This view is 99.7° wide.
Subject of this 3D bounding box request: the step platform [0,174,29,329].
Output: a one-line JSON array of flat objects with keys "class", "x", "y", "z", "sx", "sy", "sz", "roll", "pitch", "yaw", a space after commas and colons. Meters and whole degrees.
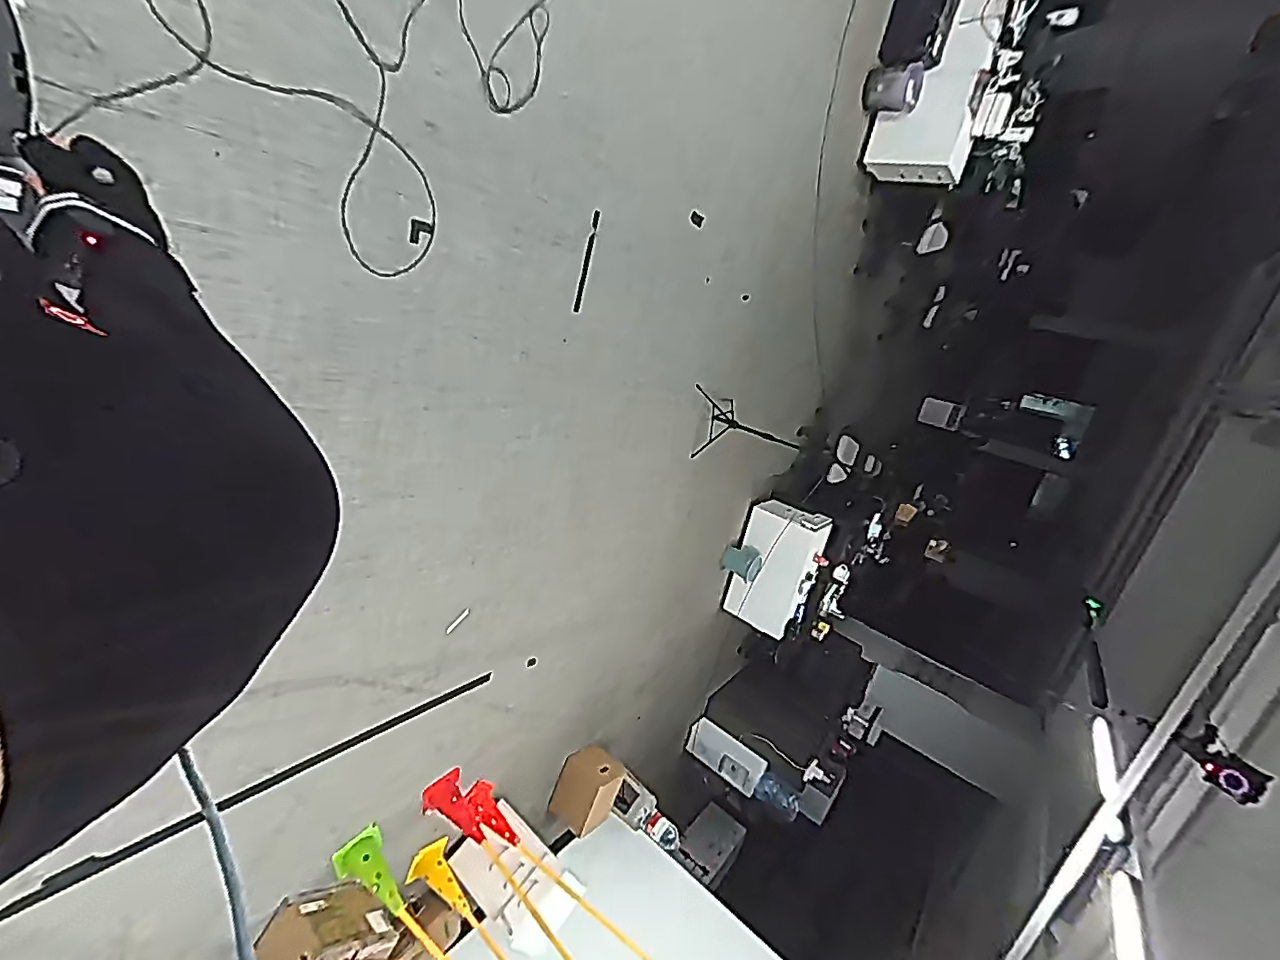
[{"class": "step platform", "x": -1.361, "y": -0.387, "z": 0.747, "sx": 0.684, "sy": 0.204, "sz": 0.286, "roll": -11, "pitch": 120, "yaw": -51}]
